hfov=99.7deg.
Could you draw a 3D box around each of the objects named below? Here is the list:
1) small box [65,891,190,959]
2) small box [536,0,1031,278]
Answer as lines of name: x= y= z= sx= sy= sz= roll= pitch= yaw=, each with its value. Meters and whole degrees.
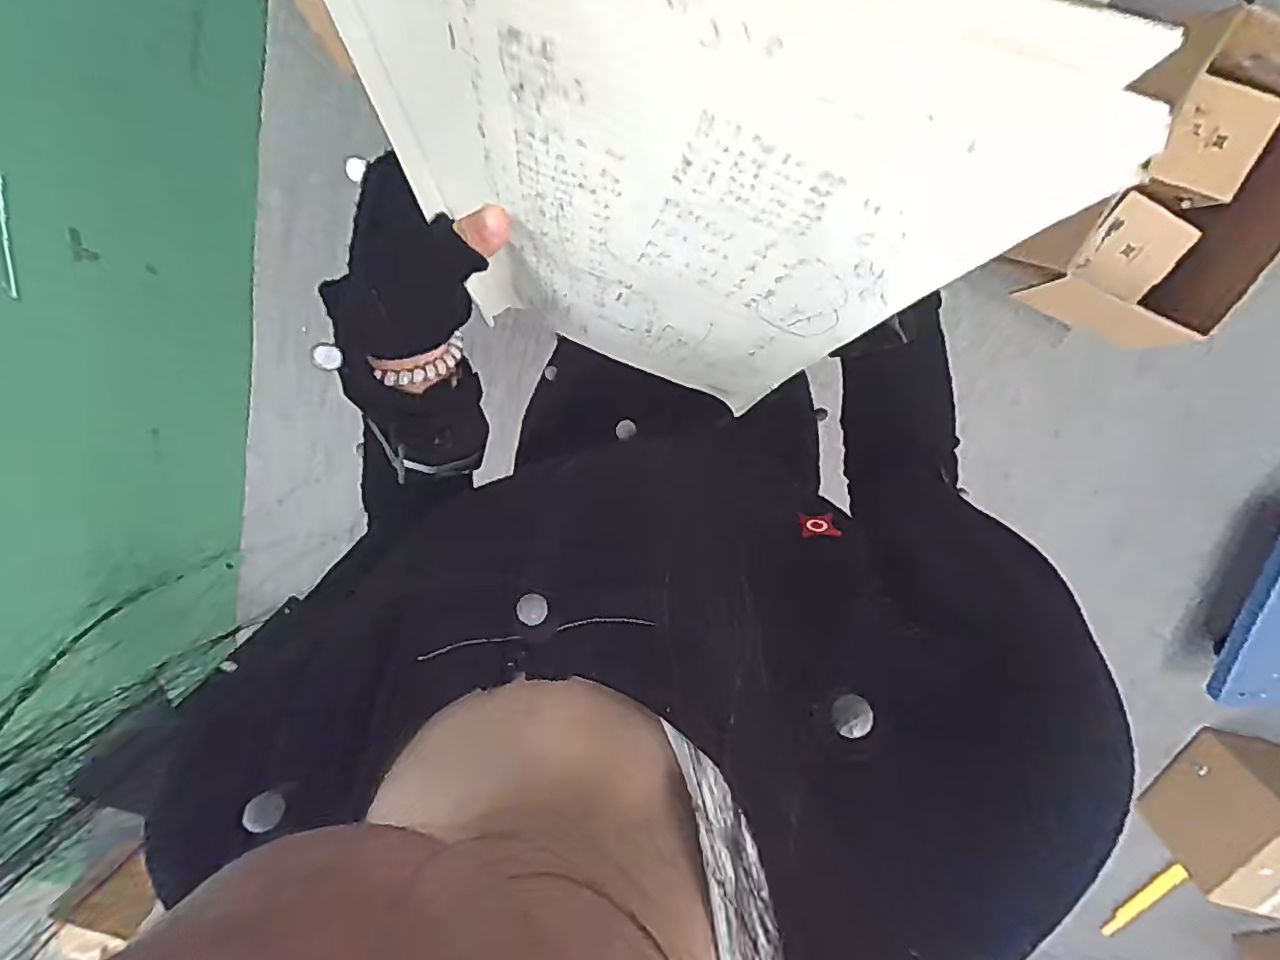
small box: x=-1.236 y=1.145 z=1.303 sx=0.168 sy=0.176 sz=0.179 roll=23 pitch=114 yaw=-6
small box: x=0.048 y=-0.225 z=0.244 sx=0.168 sy=0.176 sz=0.179 roll=5 pitch=135 yaw=-15
